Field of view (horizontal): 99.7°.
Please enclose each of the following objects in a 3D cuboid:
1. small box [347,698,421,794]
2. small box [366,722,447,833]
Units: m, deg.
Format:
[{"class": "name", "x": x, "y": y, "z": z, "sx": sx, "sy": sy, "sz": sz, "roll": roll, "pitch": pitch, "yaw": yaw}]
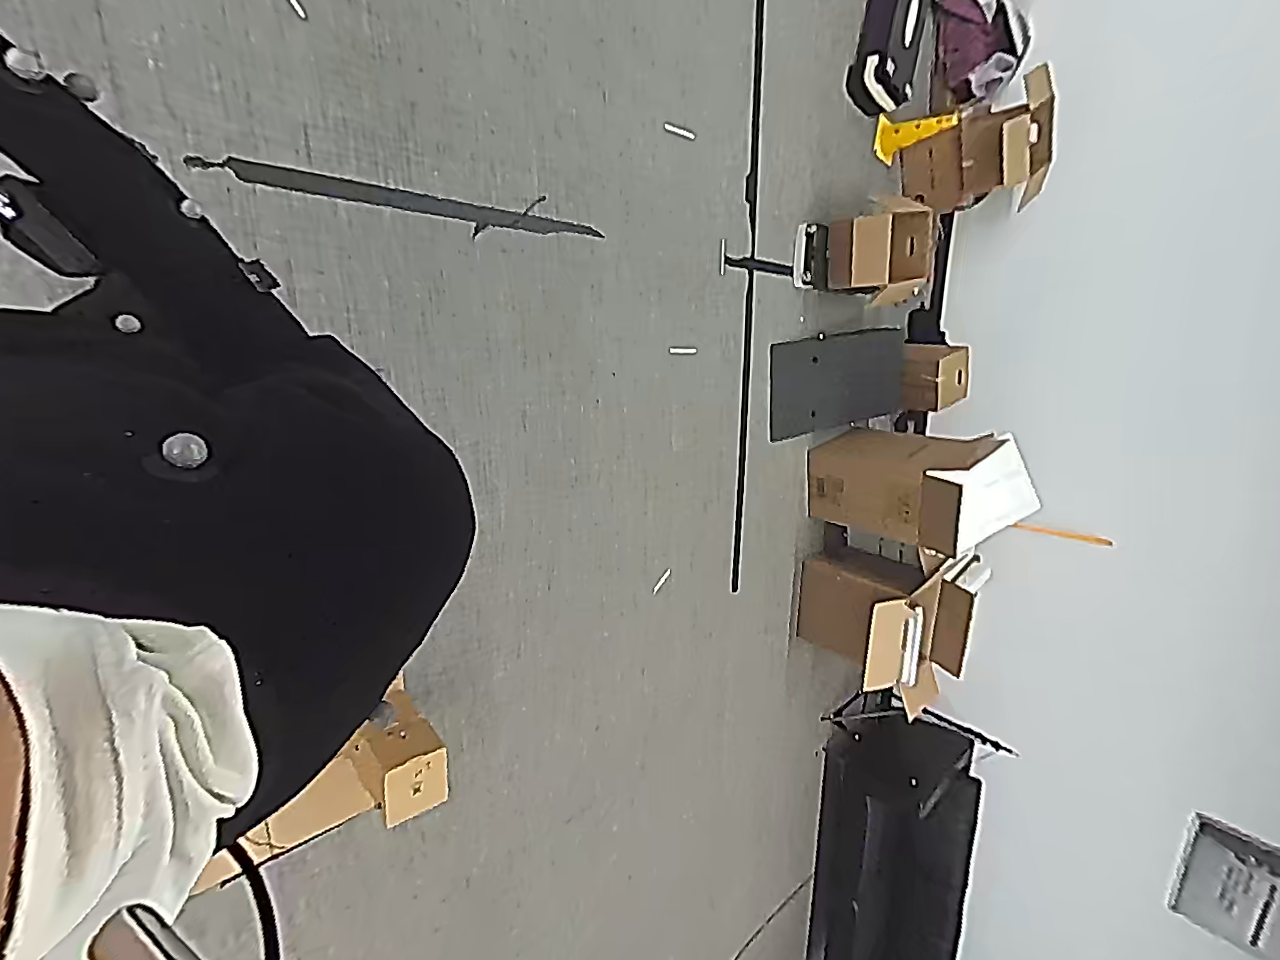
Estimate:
[{"class": "small box", "x": -0.763, "y": 0.778, "z": 1.613, "sx": 0.168, "sy": 0.176, "sz": 0.179, "roll": -8, "pitch": 105, "yaw": -40}, {"class": "small box", "x": -0.647, "y": 0.814, "z": 1.499, "sx": 0.168, "sy": 0.176, "sz": 0.179, "roll": -7, "pitch": 105, "yaw": -41}]
